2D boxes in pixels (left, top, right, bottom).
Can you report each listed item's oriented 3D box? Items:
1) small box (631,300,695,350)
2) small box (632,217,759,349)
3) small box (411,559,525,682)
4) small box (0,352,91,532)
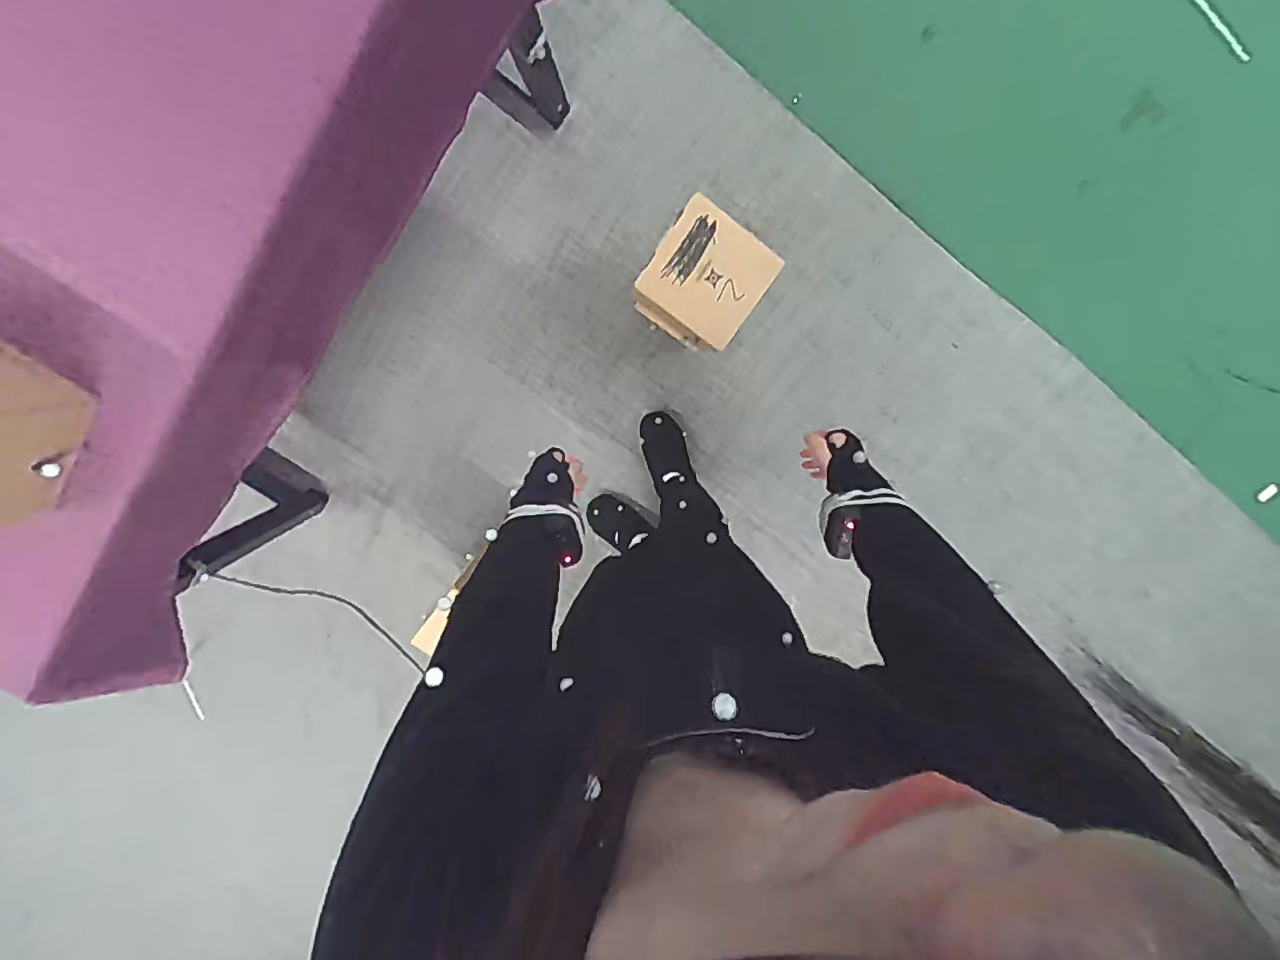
[{"bbox_3d":[0.096,-0.414,1.221,0.168,0.176,0.179,33,102,-9],"label":"small box"},{"bbox_3d":[0.101,-0.378,1.062,0.179,0.176,0.168,36,101,-9],"label":"small box"},{"bbox_3d":[-0.387,0.319,1.253,0.168,0.176,0.179,37,102,-10],"label":"small box"},{"bbox_3d":[-0.749,-0.043,0.564,0.168,0.176,0.179,34,102,-8],"label":"small box"}]
